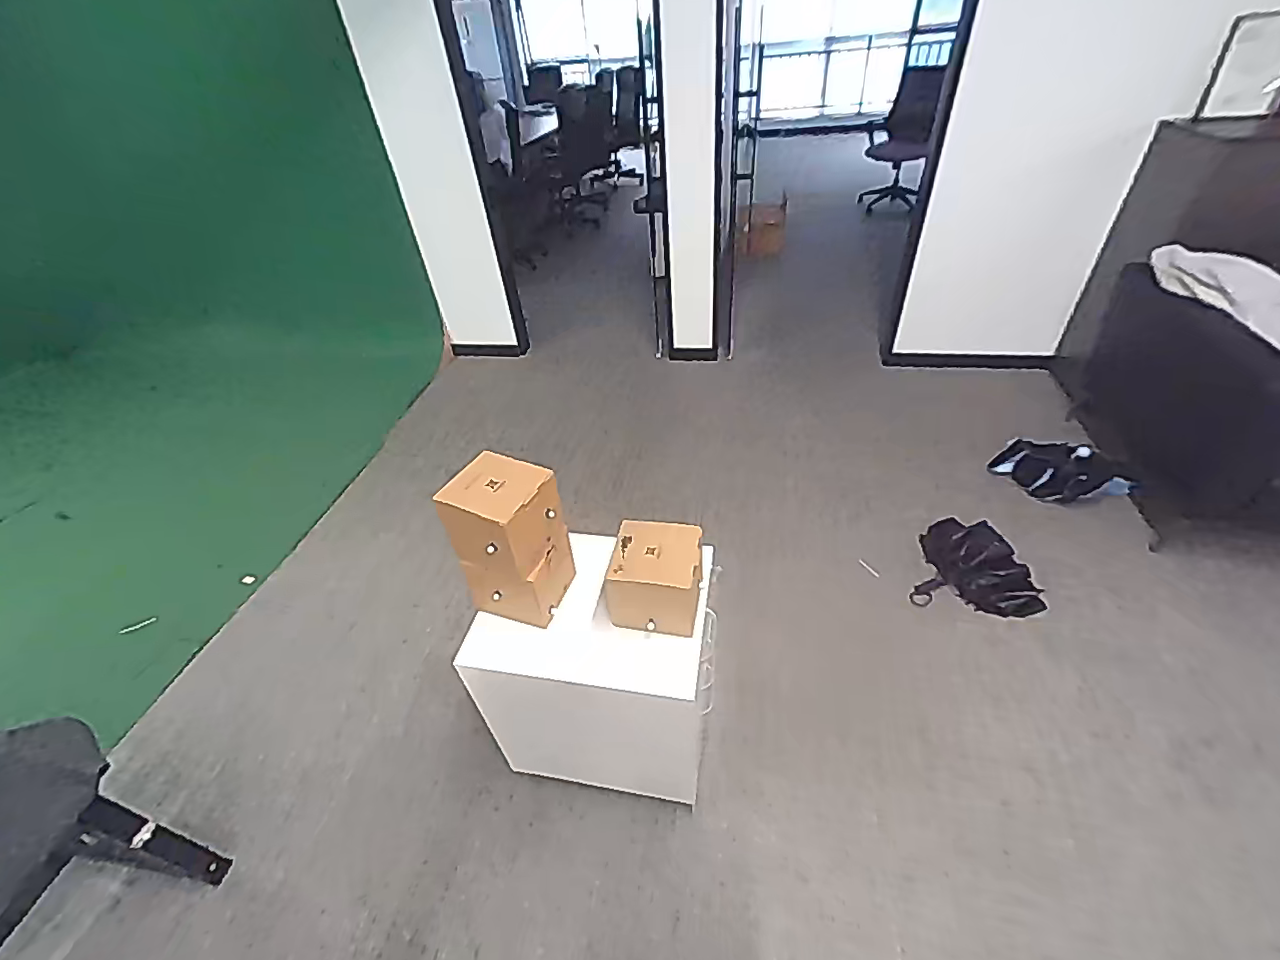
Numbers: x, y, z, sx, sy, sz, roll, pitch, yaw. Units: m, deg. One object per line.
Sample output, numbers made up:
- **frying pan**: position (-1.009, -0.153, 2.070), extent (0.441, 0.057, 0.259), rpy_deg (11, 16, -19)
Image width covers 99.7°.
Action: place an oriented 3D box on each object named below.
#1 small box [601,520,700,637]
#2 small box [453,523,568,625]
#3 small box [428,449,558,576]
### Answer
- **small box**: position (0.027, 0.210, 1.142), extent (0.179, 0.176, 0.168), rpy_deg (6, 41, 11)
- **small box**: position (-0.271, 0.192, 1.181), extent (0.179, 0.176, 0.168), rpy_deg (11, 42, 16)
- **small box**: position (-0.281, 0.067, 1.079), extent (0.179, 0.176, 0.168), rpy_deg (15, 42, 21)
